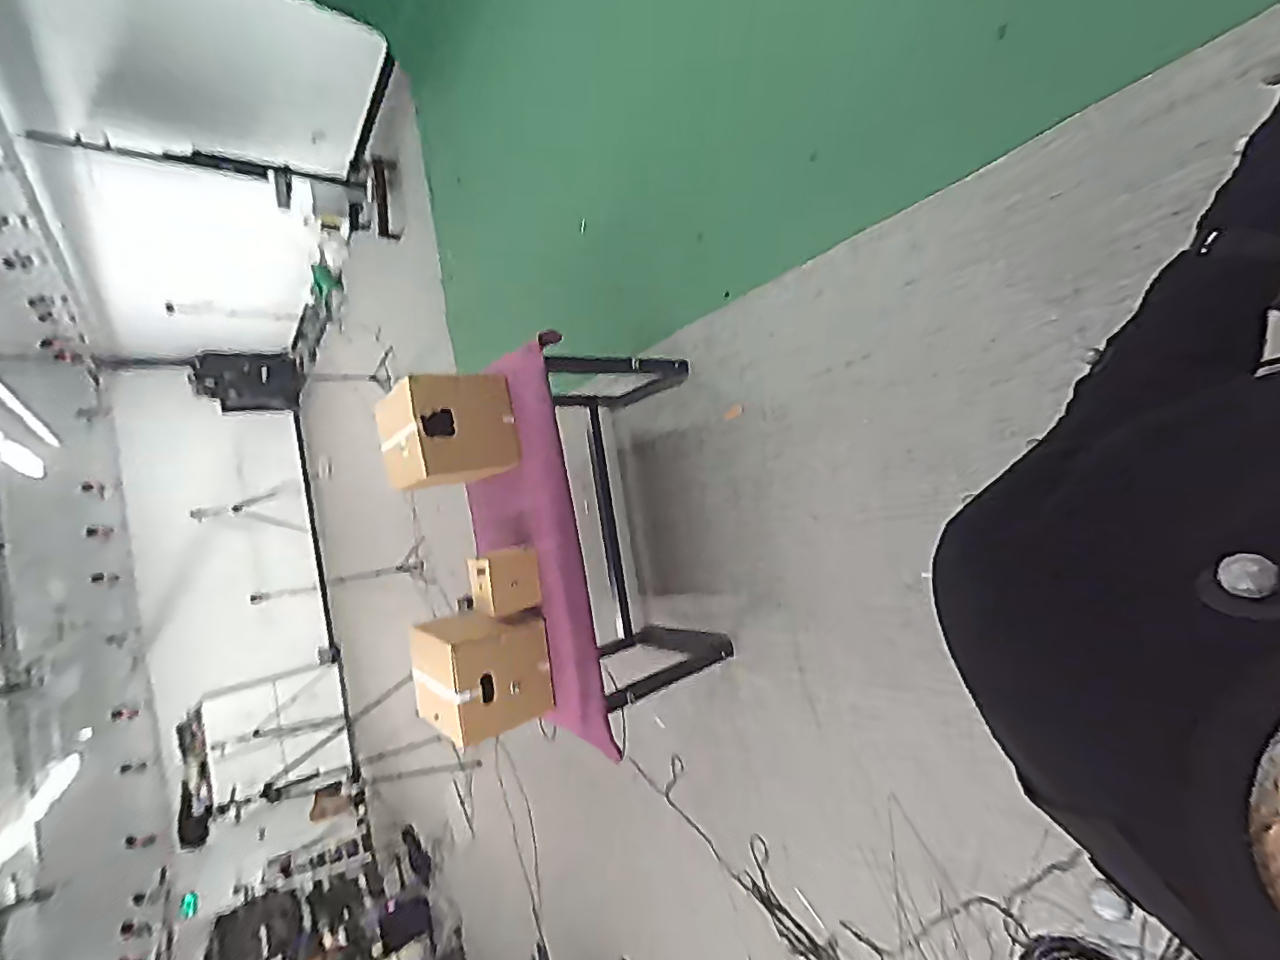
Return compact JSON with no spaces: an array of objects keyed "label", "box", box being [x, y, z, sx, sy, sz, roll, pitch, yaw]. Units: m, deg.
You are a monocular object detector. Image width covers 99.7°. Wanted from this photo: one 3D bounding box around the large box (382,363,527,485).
[{"label":"large box","box":[-0.627,-0.179,1.808,0.408,0.320,0.320,-12,89,50]}]
